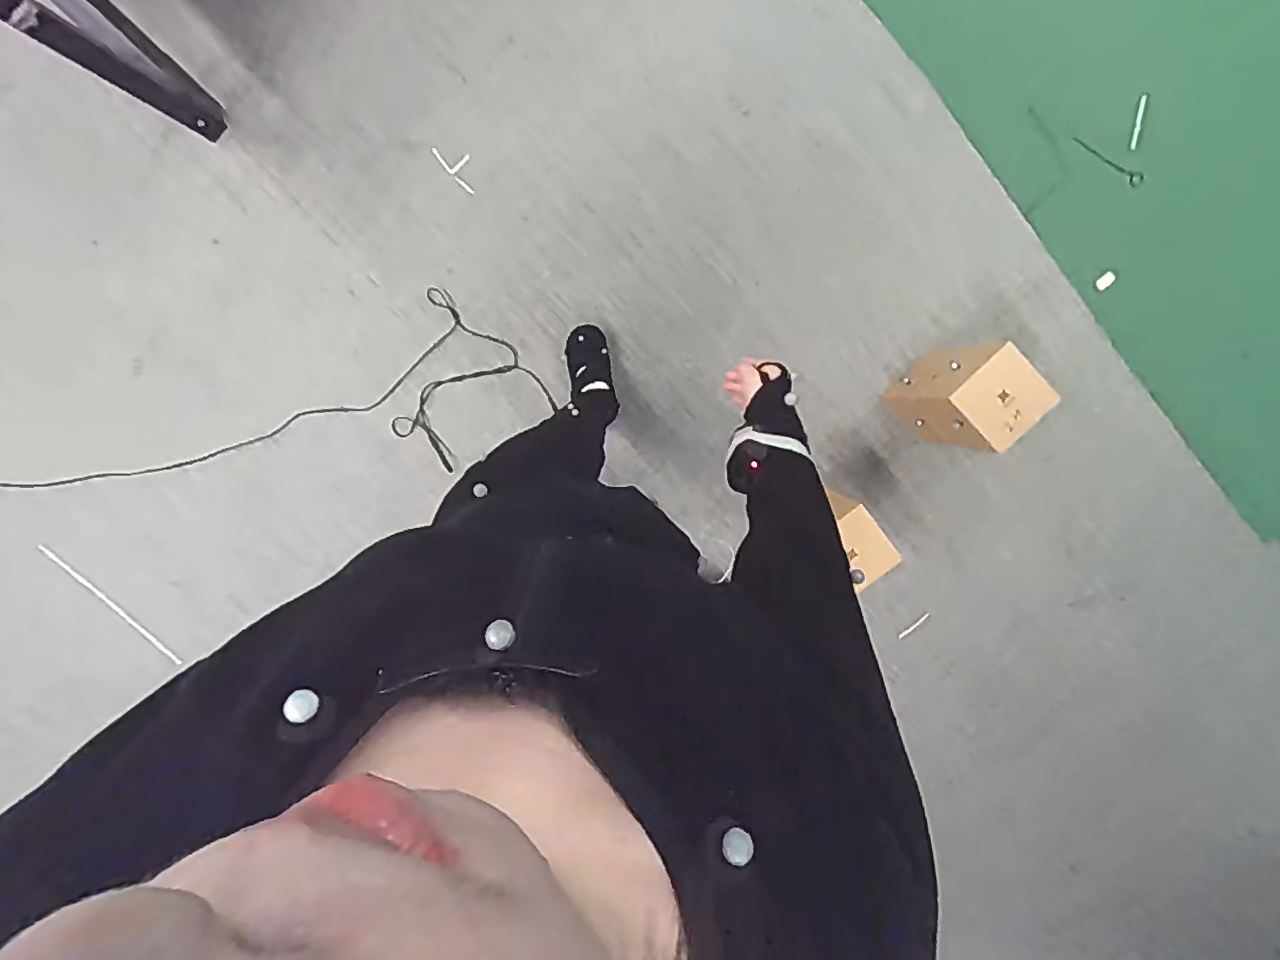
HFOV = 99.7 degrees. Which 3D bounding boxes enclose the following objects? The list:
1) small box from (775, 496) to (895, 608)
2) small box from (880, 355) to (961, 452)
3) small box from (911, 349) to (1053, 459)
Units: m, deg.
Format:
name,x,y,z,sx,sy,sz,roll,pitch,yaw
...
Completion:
name,x,y,z,sx,sy,sz,roll,pitch,yaw
small box,0.447,0.160,1.268,0.179,0.176,0.168,-37,98,6
small box,0.753,-0.194,1.375,0.168,0.176,0.179,-43,98,7
small box,0.753,-0.170,1.213,0.168,0.176,0.179,-44,97,8
